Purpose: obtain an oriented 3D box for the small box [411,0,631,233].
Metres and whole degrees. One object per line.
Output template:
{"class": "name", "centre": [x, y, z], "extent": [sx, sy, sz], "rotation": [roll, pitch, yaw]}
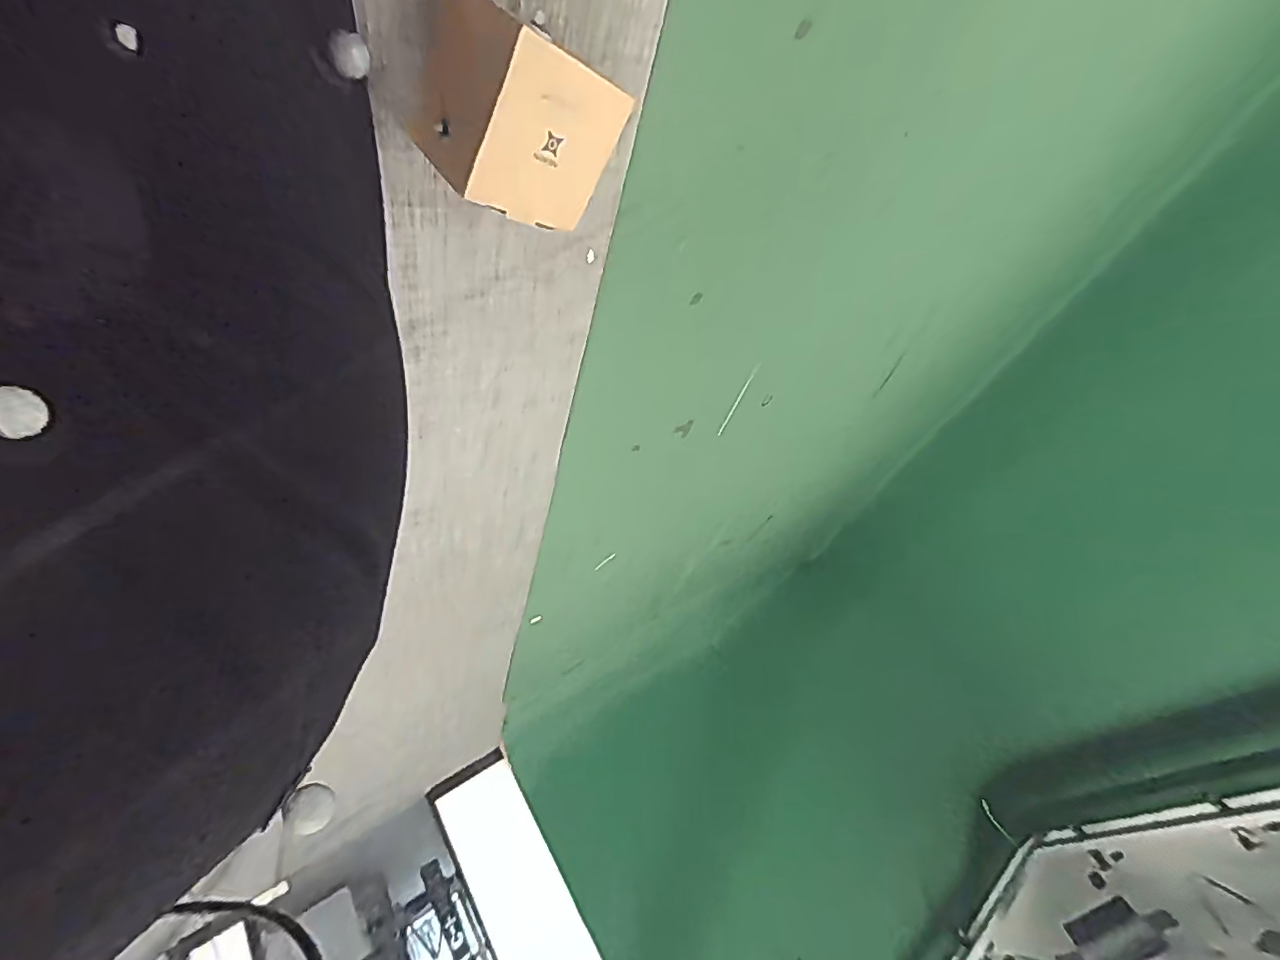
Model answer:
{"class": "small box", "centre": [-0.150, -0.438, 0.645], "extent": [0.168, 0.176, 0.179], "rotation": [-8, 142, -49]}
